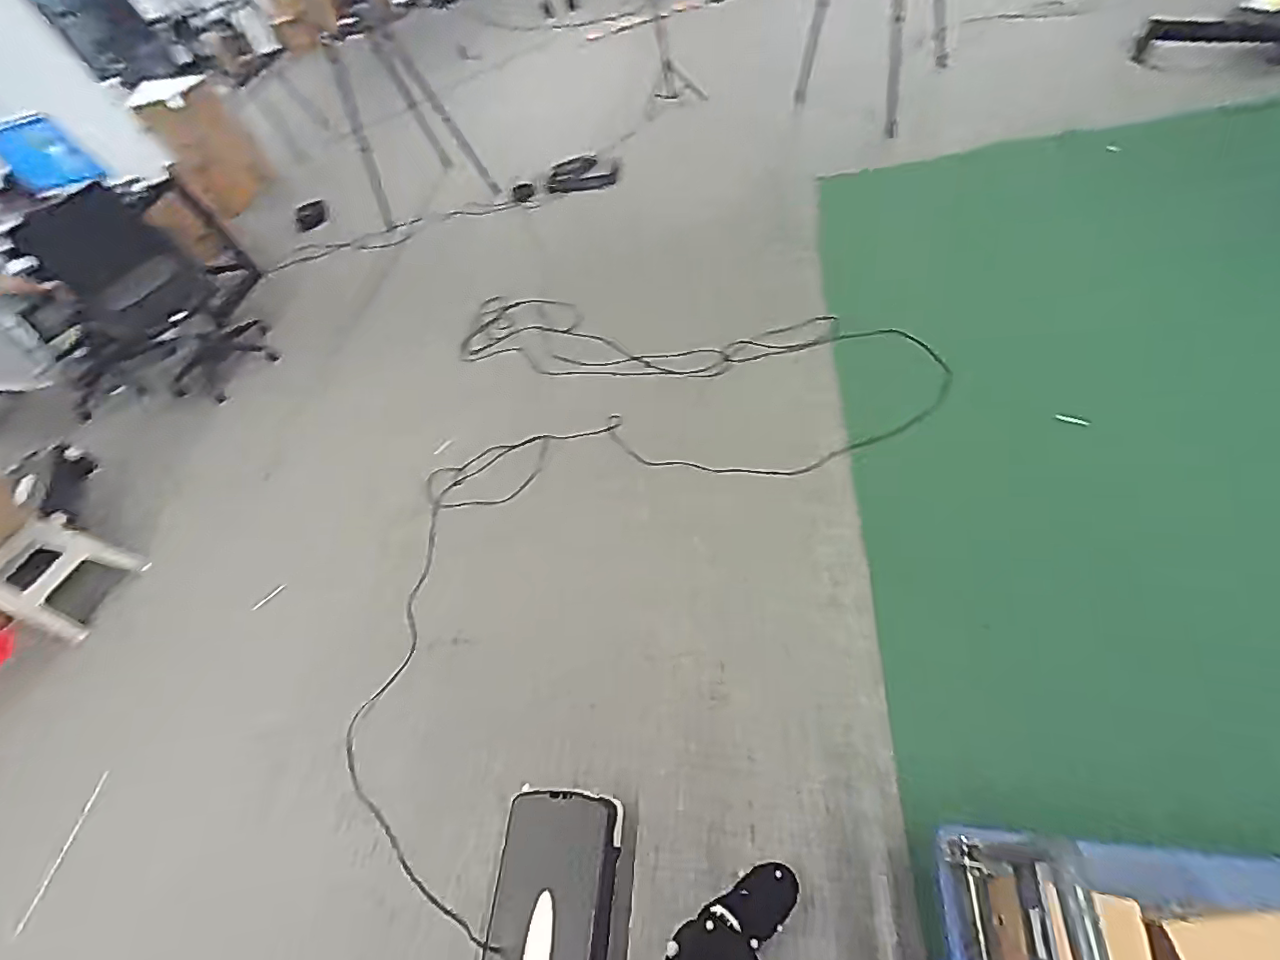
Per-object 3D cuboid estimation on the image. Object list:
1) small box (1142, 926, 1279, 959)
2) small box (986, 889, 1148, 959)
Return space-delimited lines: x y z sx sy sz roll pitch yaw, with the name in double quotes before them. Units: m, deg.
"small box" 0.911 0.803 0.834 0.179 0.176 0.168 -11 53 8
"small box" 0.706 0.800 0.898 0.179 0.176 0.168 2 56 17
